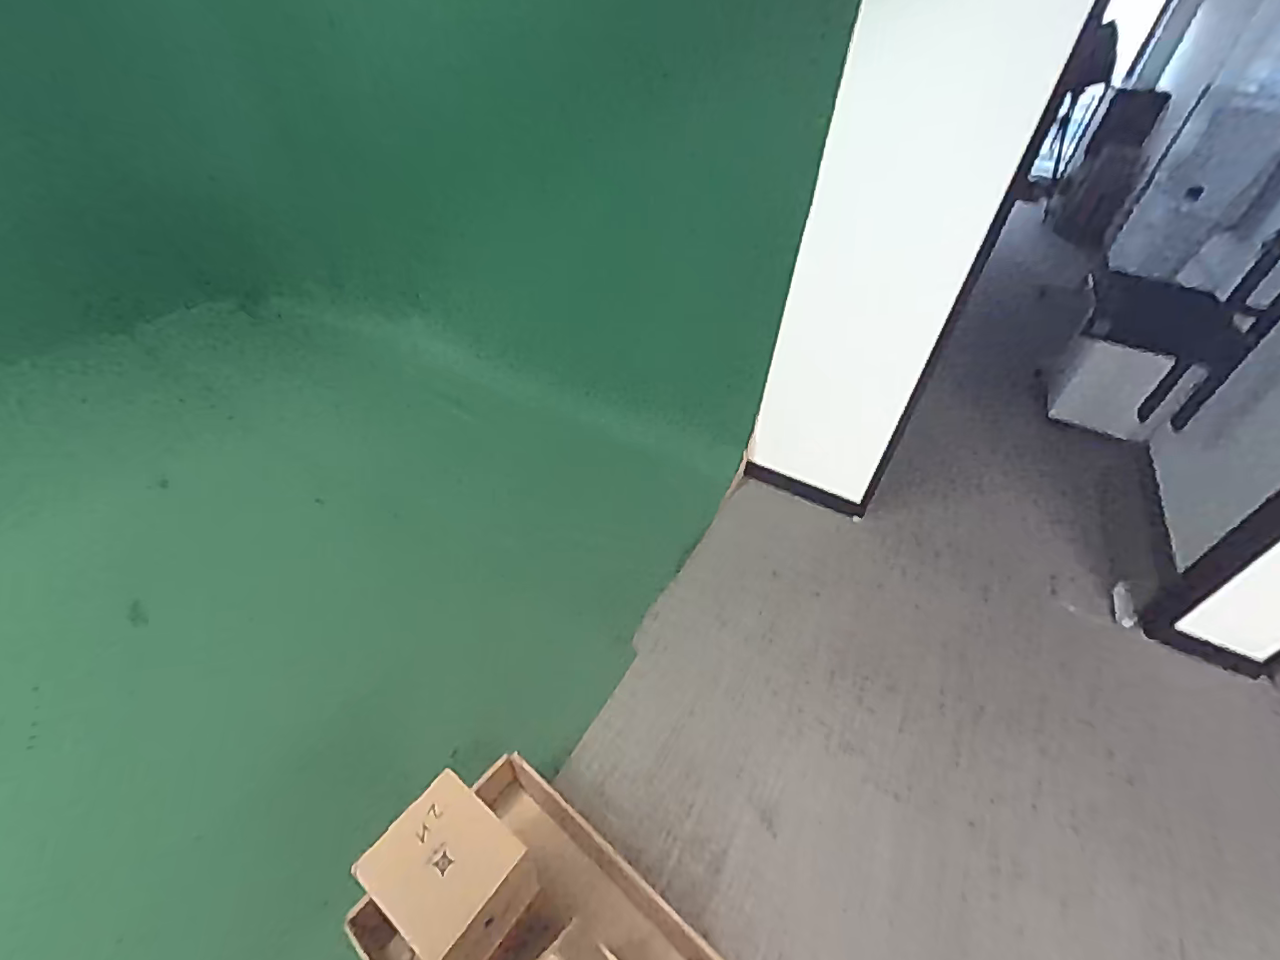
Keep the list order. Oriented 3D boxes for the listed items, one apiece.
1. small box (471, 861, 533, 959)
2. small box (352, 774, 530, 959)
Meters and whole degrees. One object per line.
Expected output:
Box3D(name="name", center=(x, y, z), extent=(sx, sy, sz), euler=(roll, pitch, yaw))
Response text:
Box3D(name="small box", center=(-0.299, 0.696, 0.916), extent=(0.168, 0.176, 0.179), euler=(31, 49, 25))
Box3D(name="small box", center=(-0.279, 0.584, 0.796), extent=(0.179, 0.176, 0.168), euler=(30, 48, 24))
